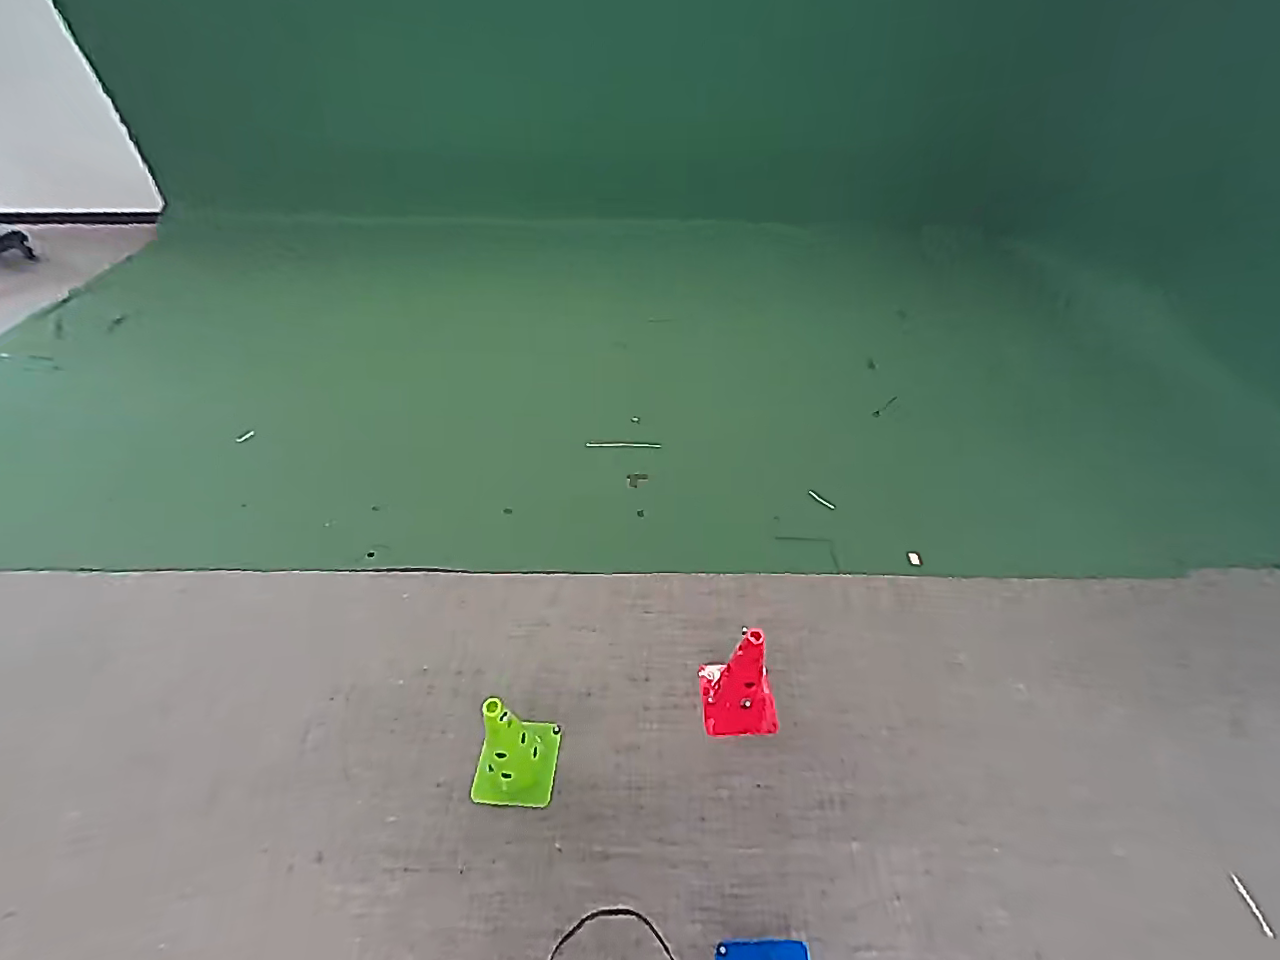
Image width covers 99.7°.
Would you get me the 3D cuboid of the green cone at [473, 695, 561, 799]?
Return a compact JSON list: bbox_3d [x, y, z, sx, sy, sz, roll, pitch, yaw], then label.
[{"bbox_3d":[-0.317,0.593,1.278,0.200,0.368,0.202,2,47,2],"label":"green cone"}]
